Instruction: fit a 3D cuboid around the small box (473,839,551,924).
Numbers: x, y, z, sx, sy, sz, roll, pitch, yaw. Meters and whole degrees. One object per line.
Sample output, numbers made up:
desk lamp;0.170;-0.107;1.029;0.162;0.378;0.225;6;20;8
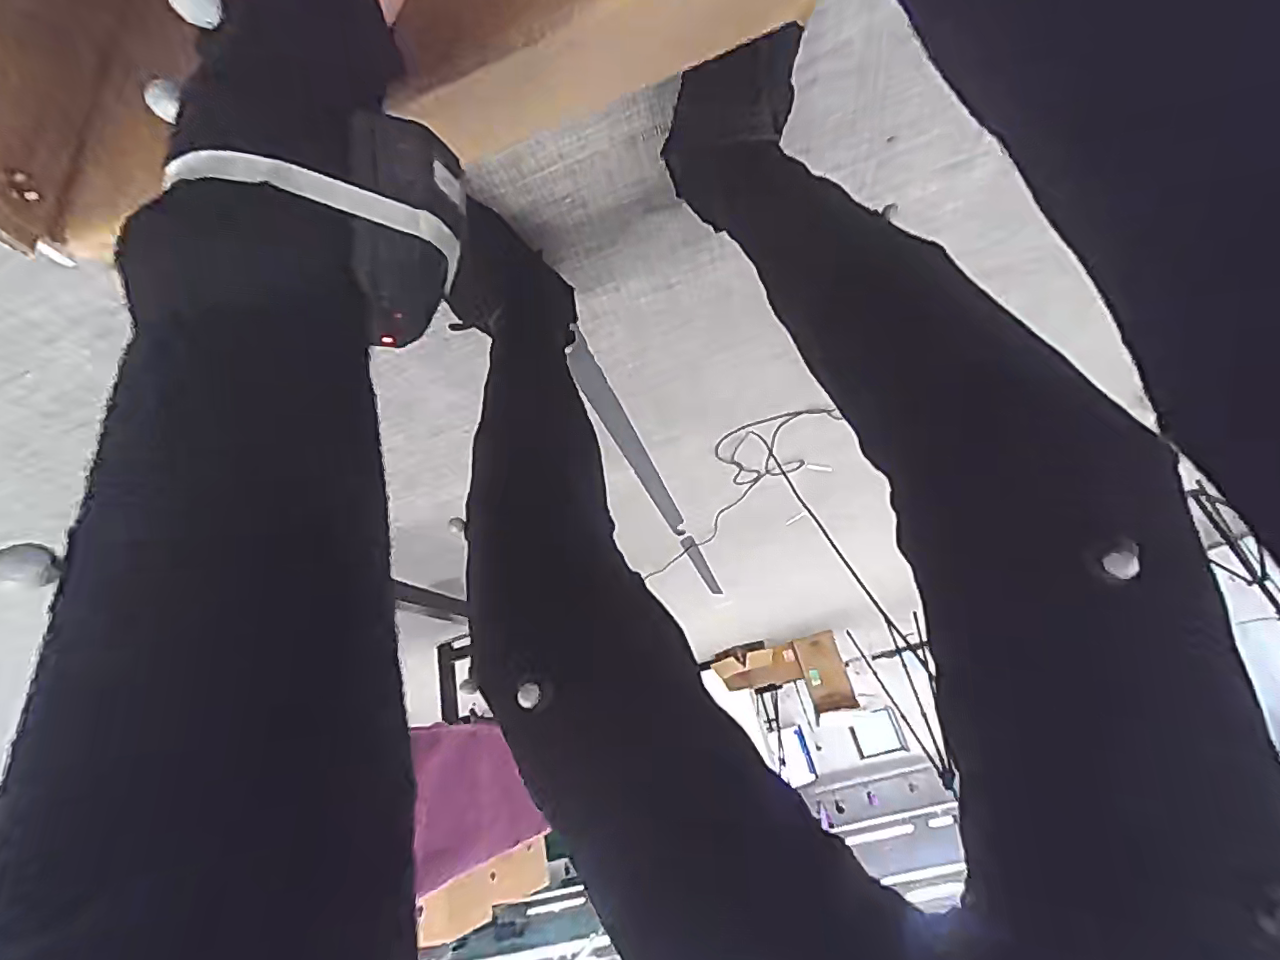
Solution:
small box;-0.404;1.247;1.691;0.179;0.176;0.168;-26;152;19
